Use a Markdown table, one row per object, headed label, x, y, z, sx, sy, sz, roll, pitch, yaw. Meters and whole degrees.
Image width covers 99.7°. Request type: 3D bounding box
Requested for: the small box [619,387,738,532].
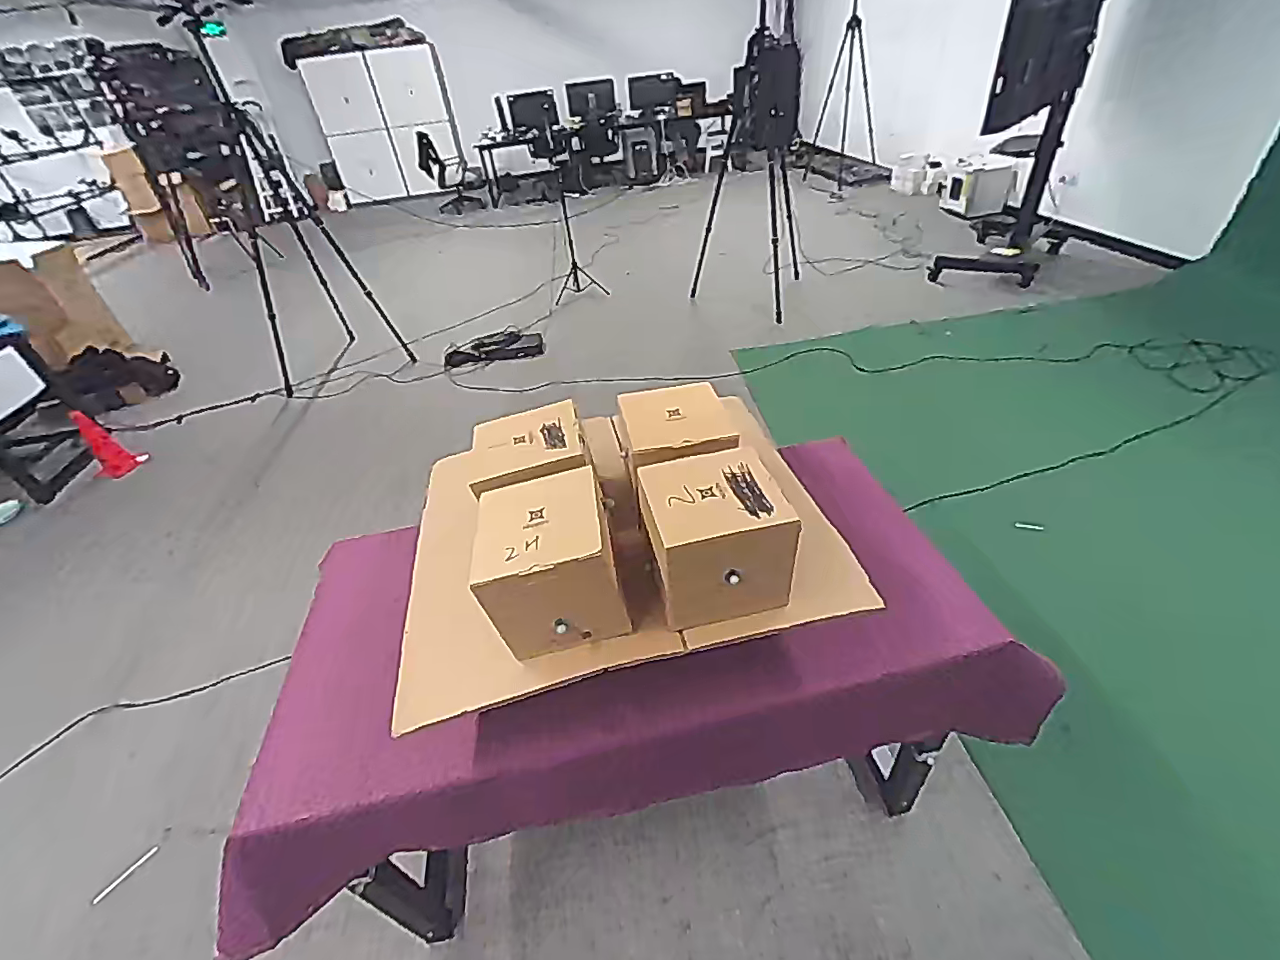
| label | x | y | z | sx | sy | sz | roll | pitch | yaw |
| --- | --- | --- | --- | --- | --- | --- | --- | --- | --- |
| small box | 0.060 | -0.037 | 0.926 | 0.168 | 0.176 | 0.179 | -9 | 40 | -5 |
